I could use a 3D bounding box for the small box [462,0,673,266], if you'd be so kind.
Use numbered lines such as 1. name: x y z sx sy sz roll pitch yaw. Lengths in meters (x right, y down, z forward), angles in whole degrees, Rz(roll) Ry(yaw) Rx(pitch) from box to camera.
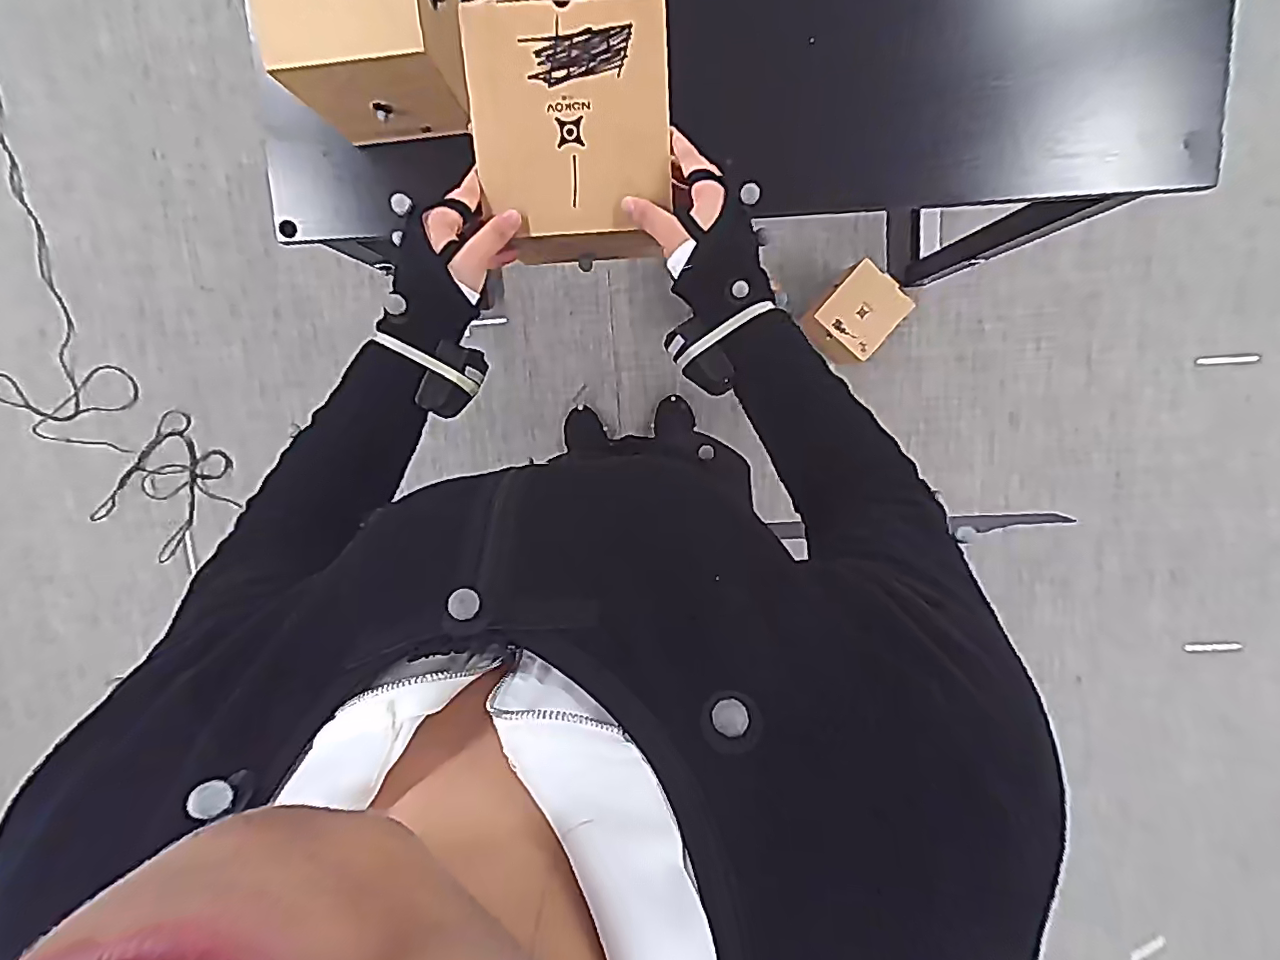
1. small box: -0.058 -0.315 0.525 0.168 0.176 0.179 -3 105 1

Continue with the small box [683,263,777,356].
1. small box: 0.215 -0.415 1.347 0.179 0.176 0.168 18 98 -1

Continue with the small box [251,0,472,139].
1. small box: -0.299 -0.508 0.602 0.168 0.176 0.179 -5 98 1

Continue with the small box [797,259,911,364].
1. small box: 0.518 -0.407 1.339 0.168 0.176 0.179 40 98 -5
